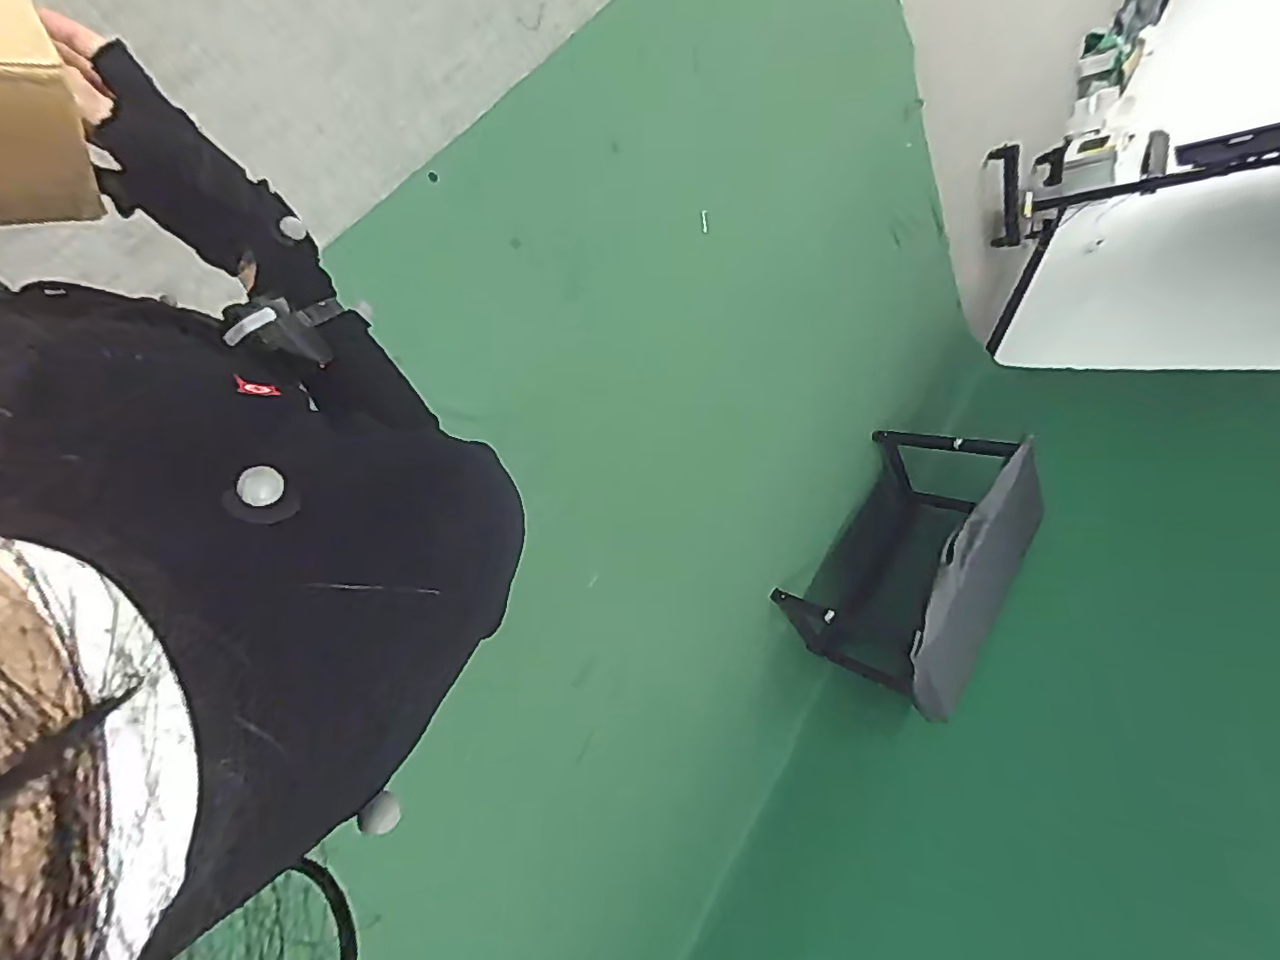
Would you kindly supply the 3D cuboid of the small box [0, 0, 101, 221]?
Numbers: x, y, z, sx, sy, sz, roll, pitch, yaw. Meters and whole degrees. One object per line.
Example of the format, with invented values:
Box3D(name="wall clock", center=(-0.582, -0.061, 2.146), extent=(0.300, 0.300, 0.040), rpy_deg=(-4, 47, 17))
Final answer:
Box3D(name="small box", center=(-0.415, -0.246, 0.262), extent=(0.168, 0.176, 0.179), rpy_deg=(-29, 106, -38))
